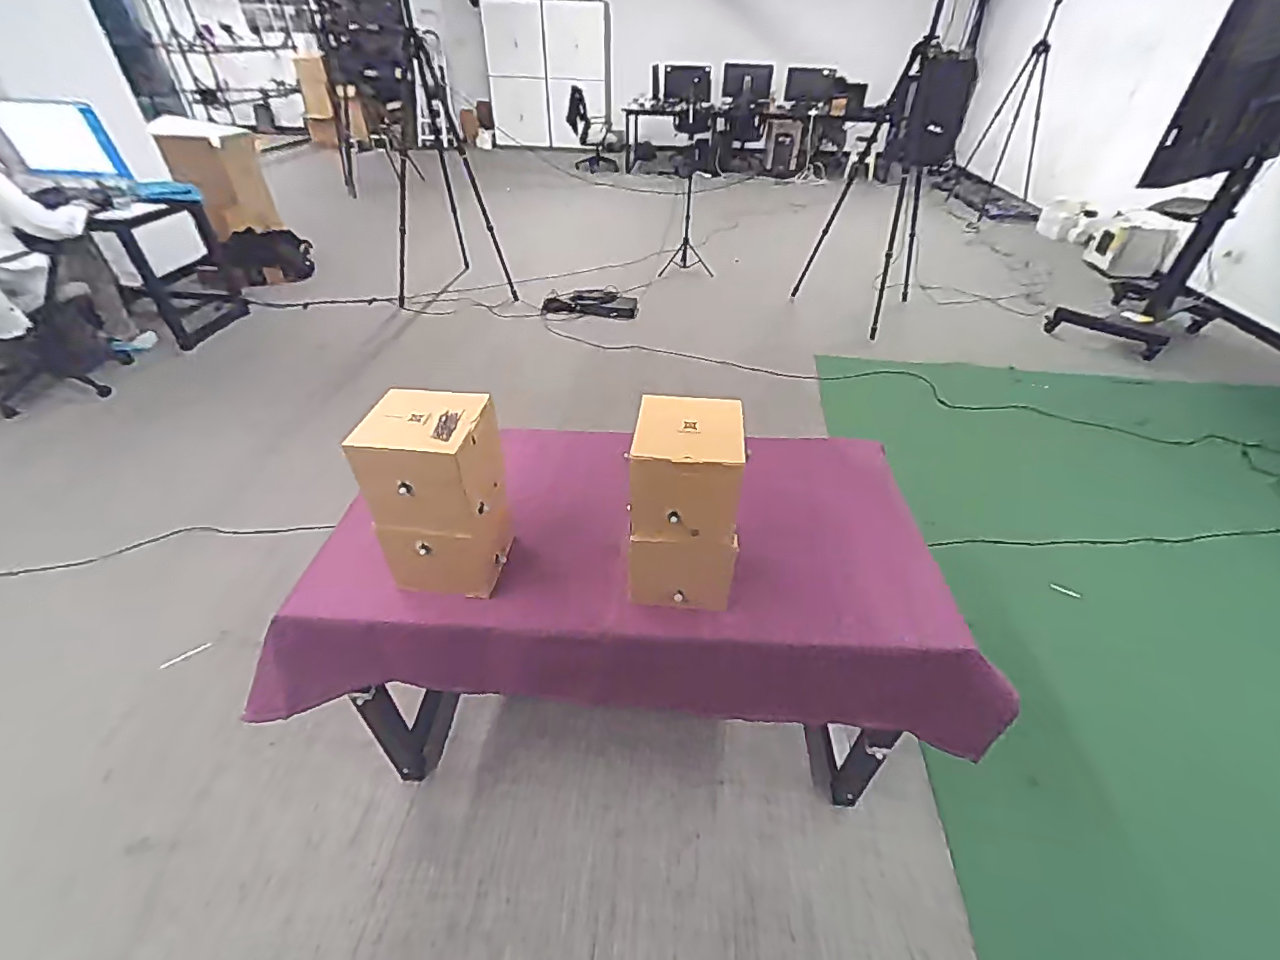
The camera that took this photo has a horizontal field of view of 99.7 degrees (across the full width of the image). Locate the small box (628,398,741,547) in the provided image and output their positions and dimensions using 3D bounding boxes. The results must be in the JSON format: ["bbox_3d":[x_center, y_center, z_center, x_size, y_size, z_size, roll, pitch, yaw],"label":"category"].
[{"bbox_3d":[0.071,-0.014,0.887,0.168,0.176,0.179,4,40,4],"label":"small box"}]

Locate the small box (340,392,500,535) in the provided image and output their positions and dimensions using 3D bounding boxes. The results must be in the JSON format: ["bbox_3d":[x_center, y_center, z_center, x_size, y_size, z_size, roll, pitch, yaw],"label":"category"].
[{"bbox_3d":[-0.344,-0.026,0.890,0.179,0.176,0.168,4,40,4],"label":"small box"}]

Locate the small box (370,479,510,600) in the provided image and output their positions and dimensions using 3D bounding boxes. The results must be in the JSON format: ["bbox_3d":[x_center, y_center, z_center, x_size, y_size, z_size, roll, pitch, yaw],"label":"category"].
[{"bbox_3d":[-0.353,0.102,0.993,0.179,0.176,0.168,5,40,4],"label":"small box"}]

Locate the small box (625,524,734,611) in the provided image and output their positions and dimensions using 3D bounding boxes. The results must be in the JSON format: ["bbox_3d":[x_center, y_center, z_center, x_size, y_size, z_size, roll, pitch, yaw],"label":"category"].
[{"bbox_3d":[0.069,0.120,0.982,0.179,0.176,0.168,4,39,3],"label":"small box"}]
